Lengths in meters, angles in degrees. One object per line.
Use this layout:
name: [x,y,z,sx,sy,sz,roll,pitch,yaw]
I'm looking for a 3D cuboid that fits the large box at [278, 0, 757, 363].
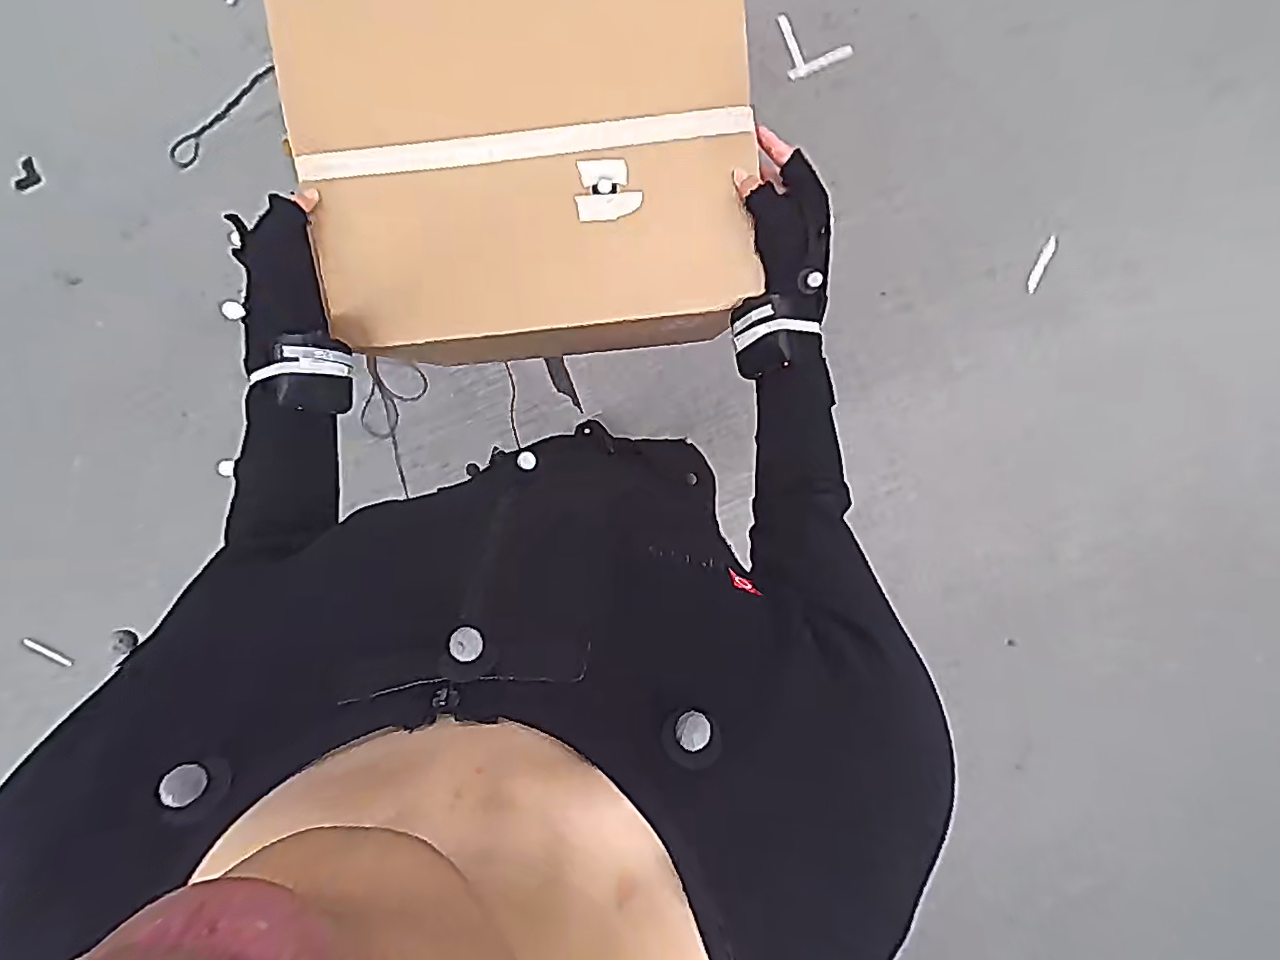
large box: [-0.108,-0.326,0.641,0.408,0.320,0.320,-7,100,-1]
